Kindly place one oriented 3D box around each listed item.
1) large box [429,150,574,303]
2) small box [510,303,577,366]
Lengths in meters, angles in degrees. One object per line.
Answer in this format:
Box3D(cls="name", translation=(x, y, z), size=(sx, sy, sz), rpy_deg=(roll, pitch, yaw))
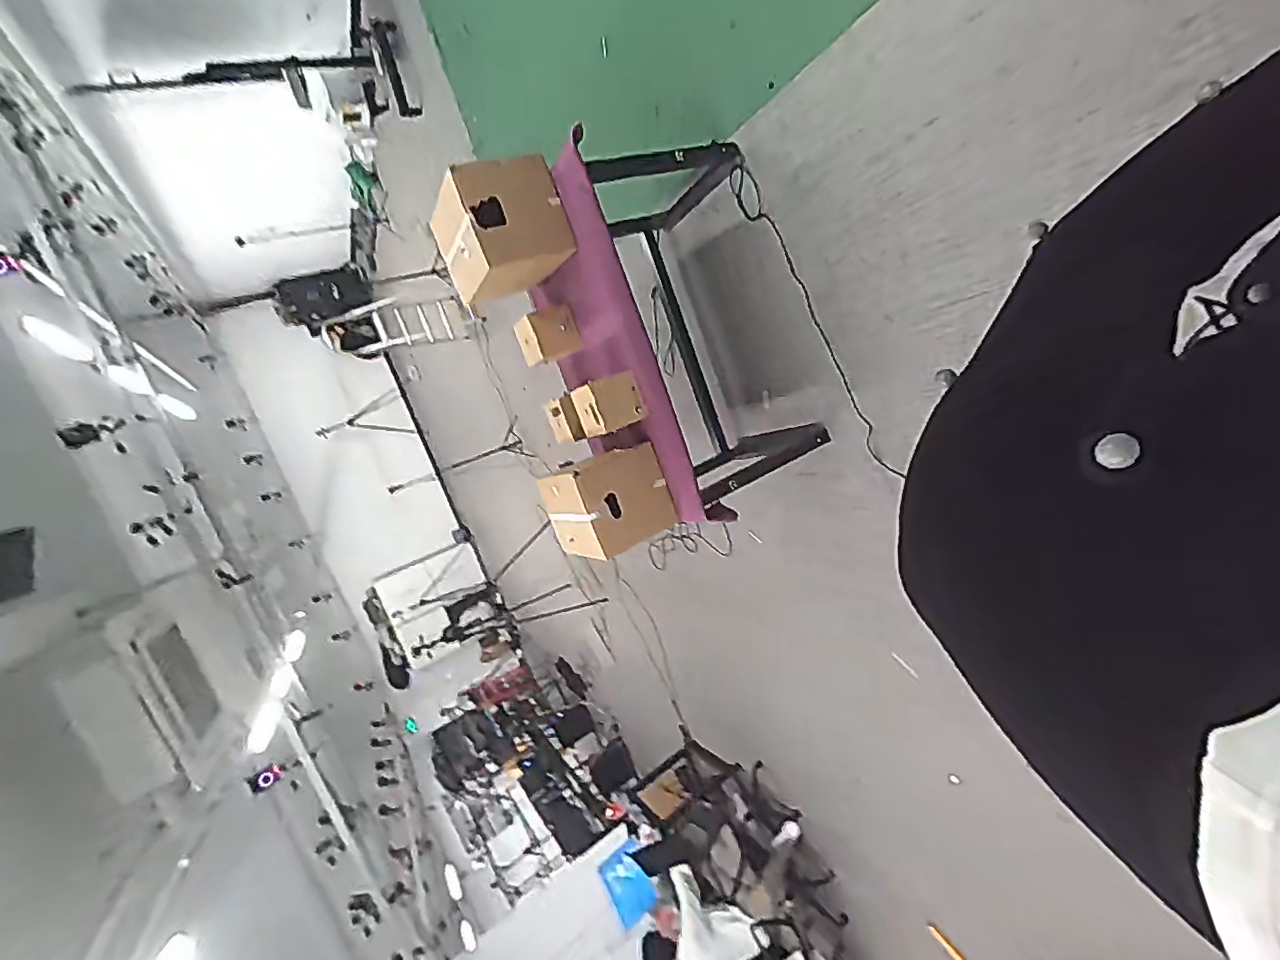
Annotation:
Box3D(cls="large box", translation=(-0.475, -0.840, 1.825), size=(0.408, 0.320, 0.320), rpy_deg=(-2, 112, 60))
Box3D(cls="small box", translation=(-0.358, -0.541, 2.010), size=(0.179, 0.176, 0.168), rpy_deg=(-3, 110, 61))
